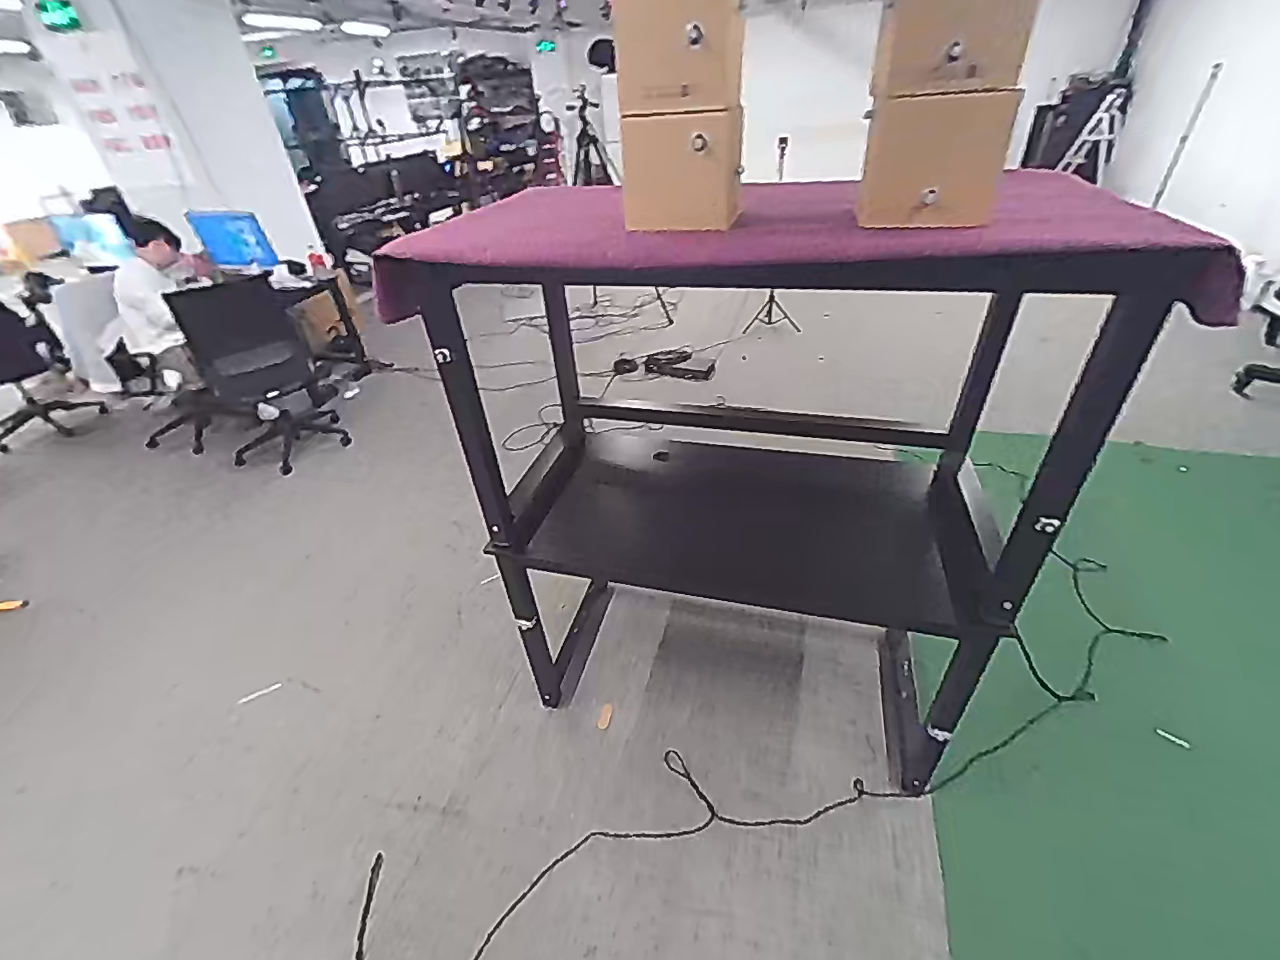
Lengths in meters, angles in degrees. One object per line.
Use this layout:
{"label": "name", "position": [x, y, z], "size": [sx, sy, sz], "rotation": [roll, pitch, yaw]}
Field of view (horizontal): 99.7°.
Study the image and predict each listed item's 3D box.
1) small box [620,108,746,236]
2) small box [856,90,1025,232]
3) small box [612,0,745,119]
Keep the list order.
{"label": "small box", "position": [0.080, -0.523, 0.921], "size": [0.179, 0.176, 0.168], "rotation": [6, 36, 16]}
{"label": "small box", "position": [0.437, -0.483, 0.820], "size": [0.179, 0.176, 0.168], "rotation": [6, 35, 15]}
{"label": "small box", "position": [0.068, -0.658, 0.830], "size": [0.168, 0.176, 0.179], "rotation": [8, 37, 16]}
